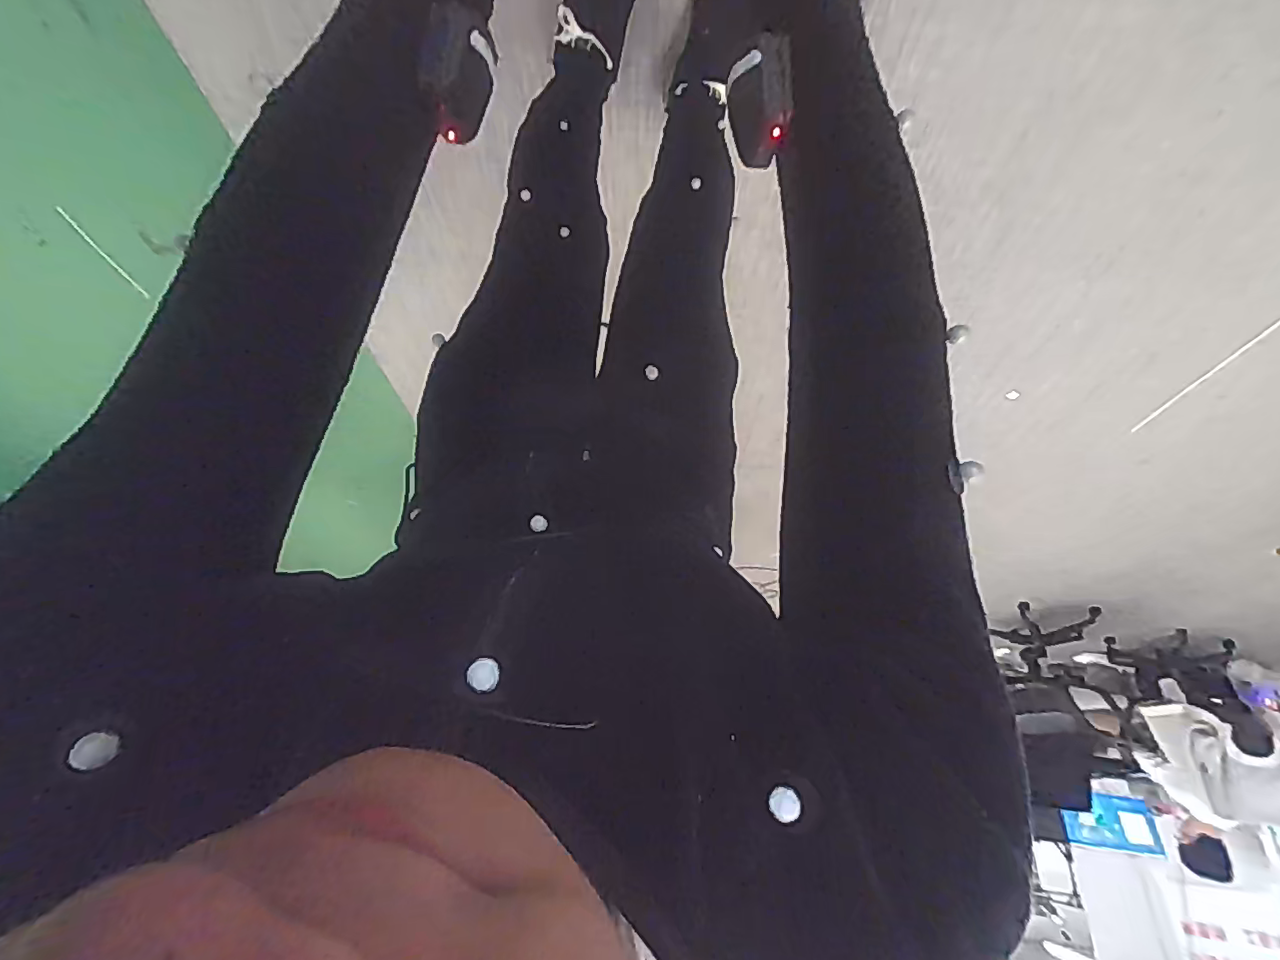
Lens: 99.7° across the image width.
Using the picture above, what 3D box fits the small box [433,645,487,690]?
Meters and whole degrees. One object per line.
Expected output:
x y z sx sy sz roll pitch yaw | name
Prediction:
-0.805 0.842 2.441 0.168 0.176 0.179 5 151 3 | small box
